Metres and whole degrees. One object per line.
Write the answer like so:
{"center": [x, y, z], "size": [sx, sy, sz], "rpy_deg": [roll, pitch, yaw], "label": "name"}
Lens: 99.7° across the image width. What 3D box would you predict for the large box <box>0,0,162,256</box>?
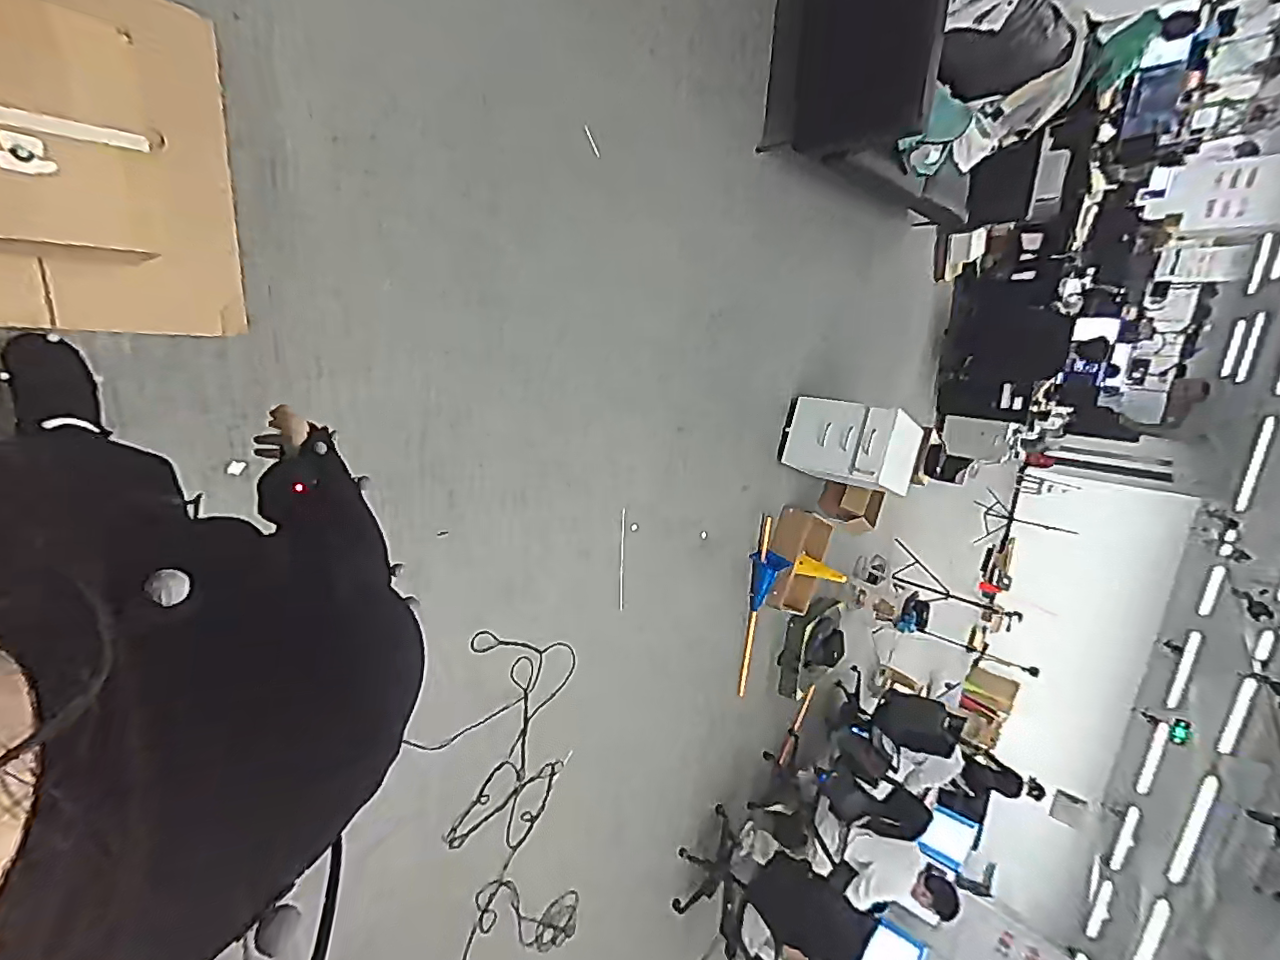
{"center": [-0.999, -0.513, 0.771], "size": [0.408, 0.320, 0.320], "rpy_deg": [-15, 113, -47], "label": "large box"}
